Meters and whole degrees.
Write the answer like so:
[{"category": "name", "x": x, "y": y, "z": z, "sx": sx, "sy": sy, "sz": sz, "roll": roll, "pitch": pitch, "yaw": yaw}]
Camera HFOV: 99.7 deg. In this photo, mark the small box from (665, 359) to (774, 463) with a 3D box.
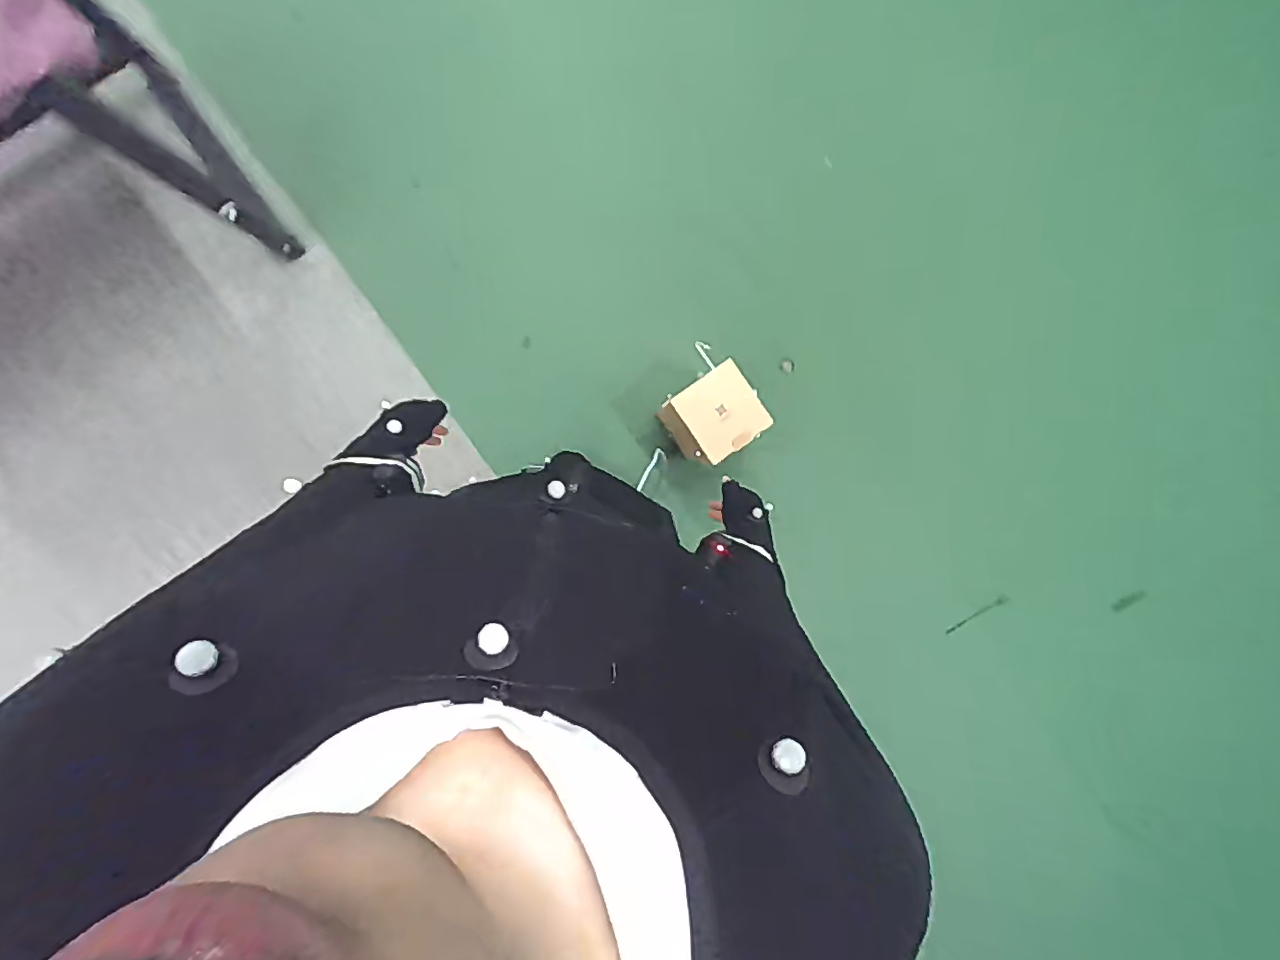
[{"category": "small box", "x": 0.173, "y": -0.152, "z": 1.250, "sx": 0.168, "sy": 0.176, "sz": 0.179, "roll": -35, "pitch": 95, "yaw": -1}]
